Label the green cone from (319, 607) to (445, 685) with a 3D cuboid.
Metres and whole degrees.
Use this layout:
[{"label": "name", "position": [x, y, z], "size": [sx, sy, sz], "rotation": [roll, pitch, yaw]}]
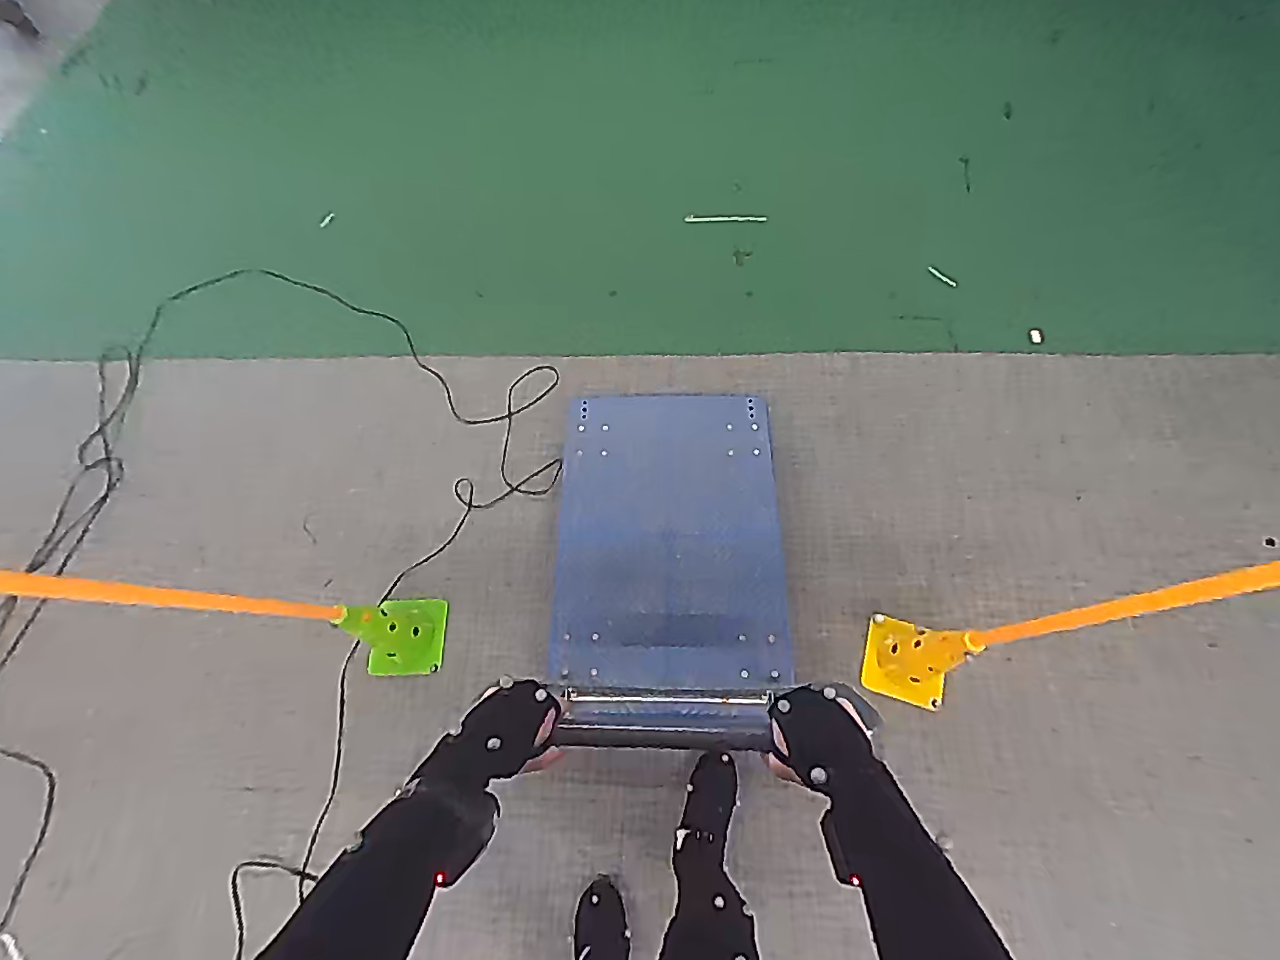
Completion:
[{"label": "green cone", "position": [-0.650, 0.377, 1.320], "size": [0.202, 0.368, 0.200], "rotation": [-4, 65, 3]}]
